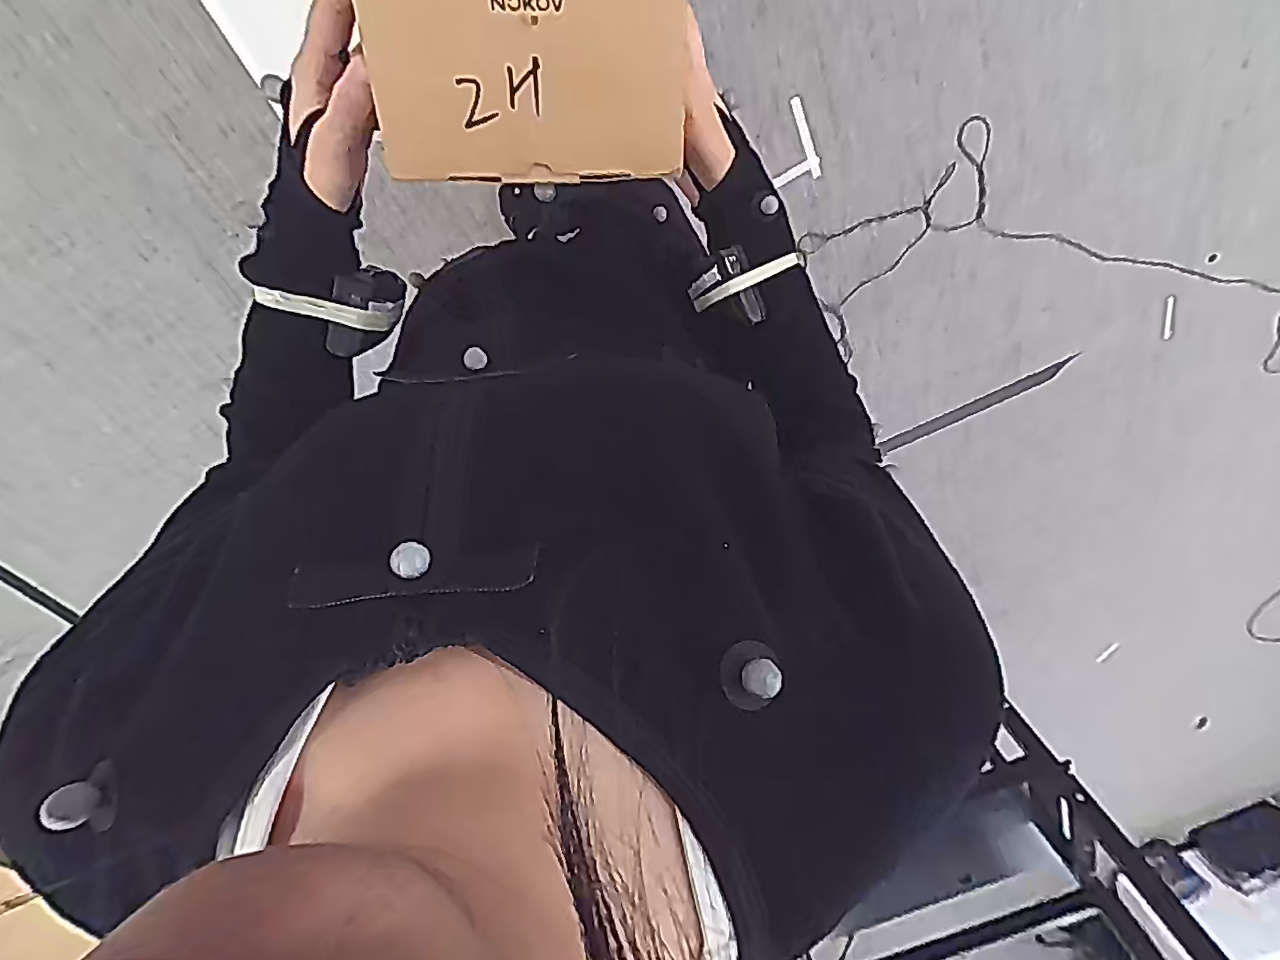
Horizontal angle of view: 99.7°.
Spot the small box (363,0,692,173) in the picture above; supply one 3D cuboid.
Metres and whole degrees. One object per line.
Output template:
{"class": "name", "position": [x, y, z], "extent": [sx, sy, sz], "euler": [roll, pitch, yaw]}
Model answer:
{"class": "small box", "position": [-0.065, -0.291, 0.332], "extent": [0.168, 0.176, 0.179], "euler": [-4, 121, -5]}
